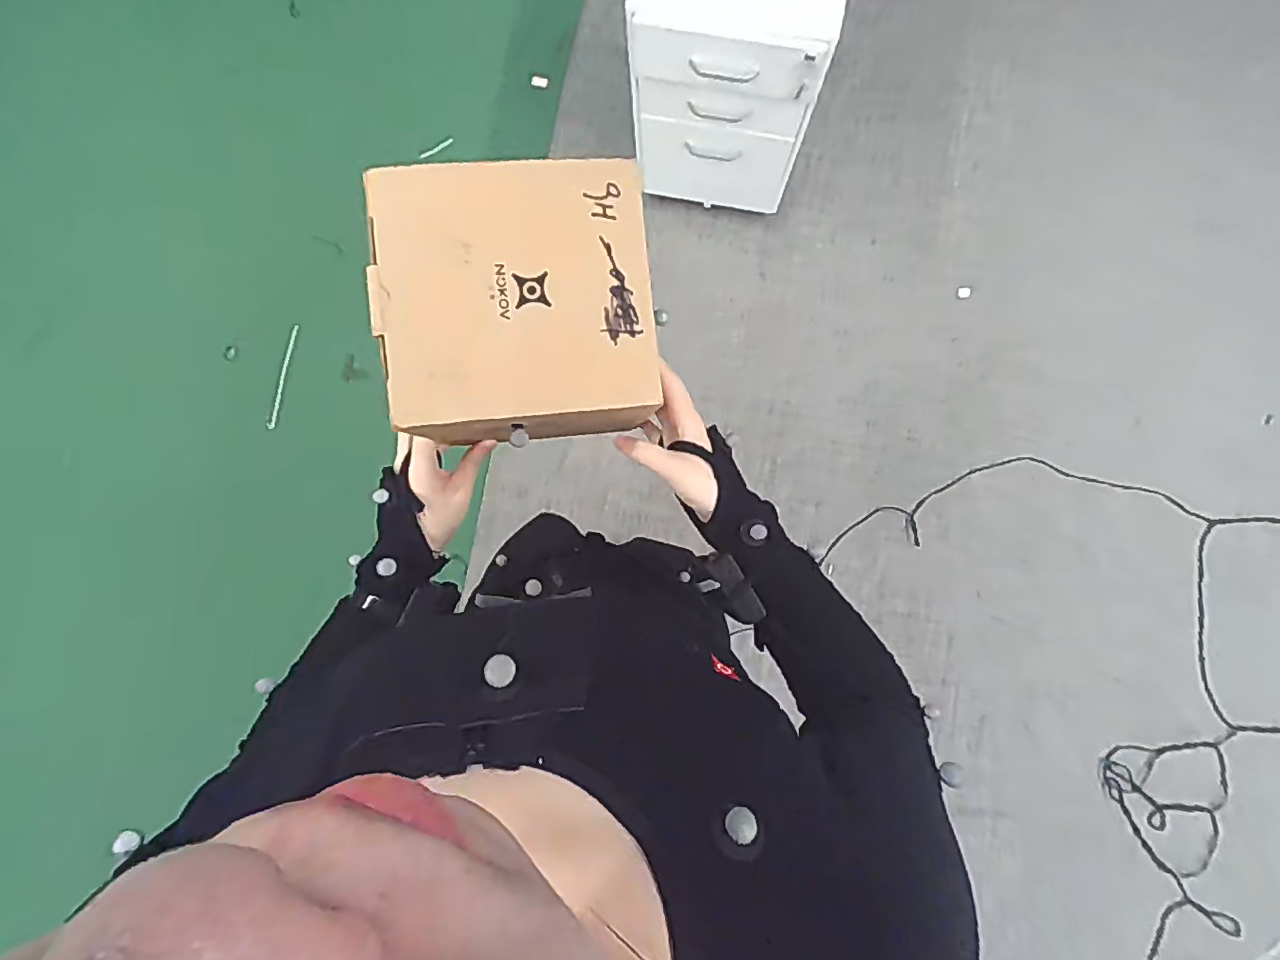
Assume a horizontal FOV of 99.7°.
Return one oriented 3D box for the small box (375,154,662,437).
[{"bbox_3d":[-0.085,-0.127,0.431,0.179,0.176,0.168,-5,90,-7],"label":"small box"}]
